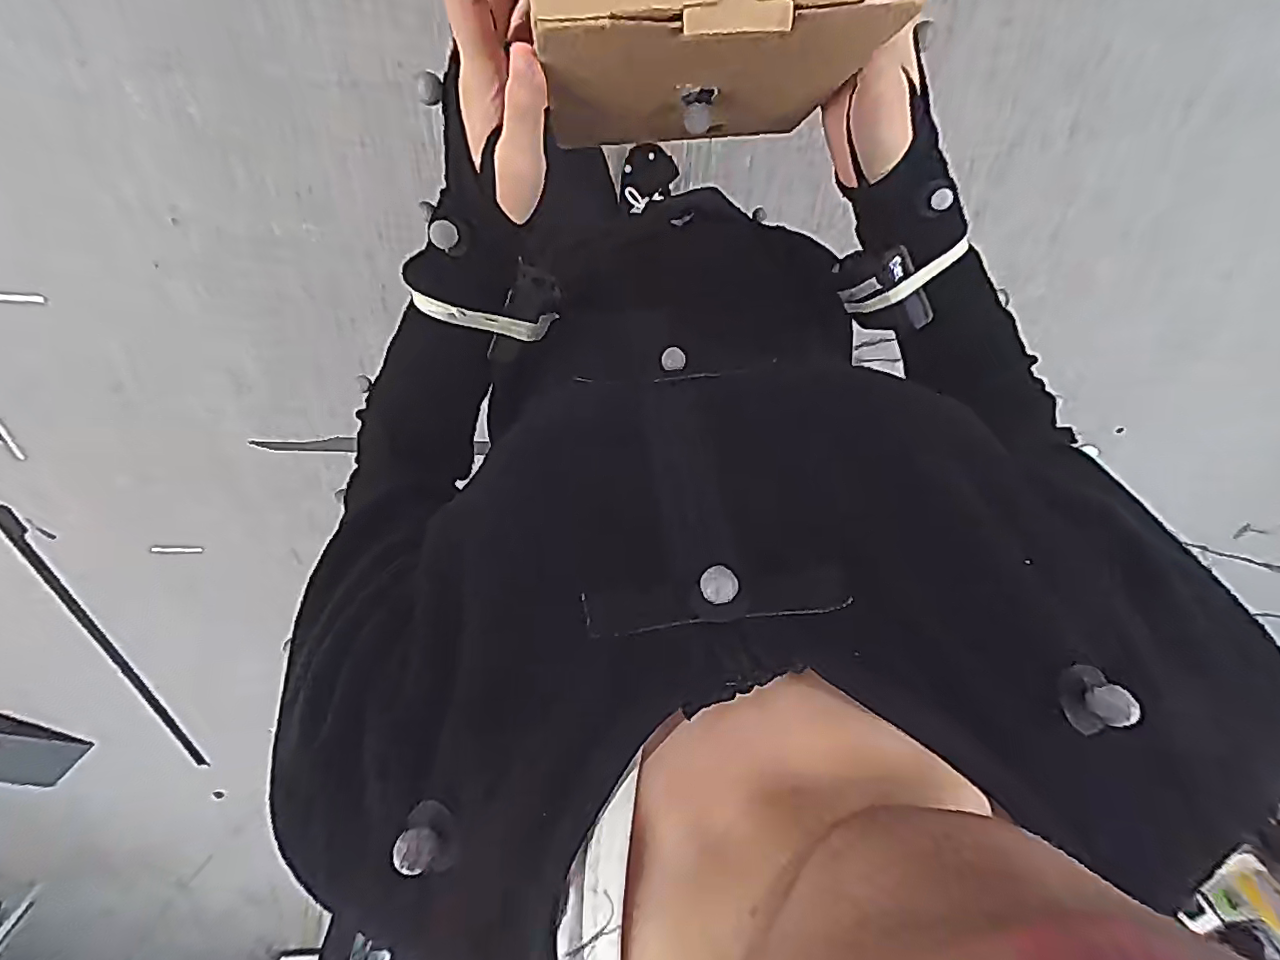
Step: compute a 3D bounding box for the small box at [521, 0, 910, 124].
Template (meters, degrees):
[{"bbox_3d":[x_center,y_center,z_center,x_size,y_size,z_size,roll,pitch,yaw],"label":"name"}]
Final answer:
[{"bbox_3d":[0.024,-0.295,0.264,0.168,0.176,0.179,-6,108,-3],"label":"small box"}]
